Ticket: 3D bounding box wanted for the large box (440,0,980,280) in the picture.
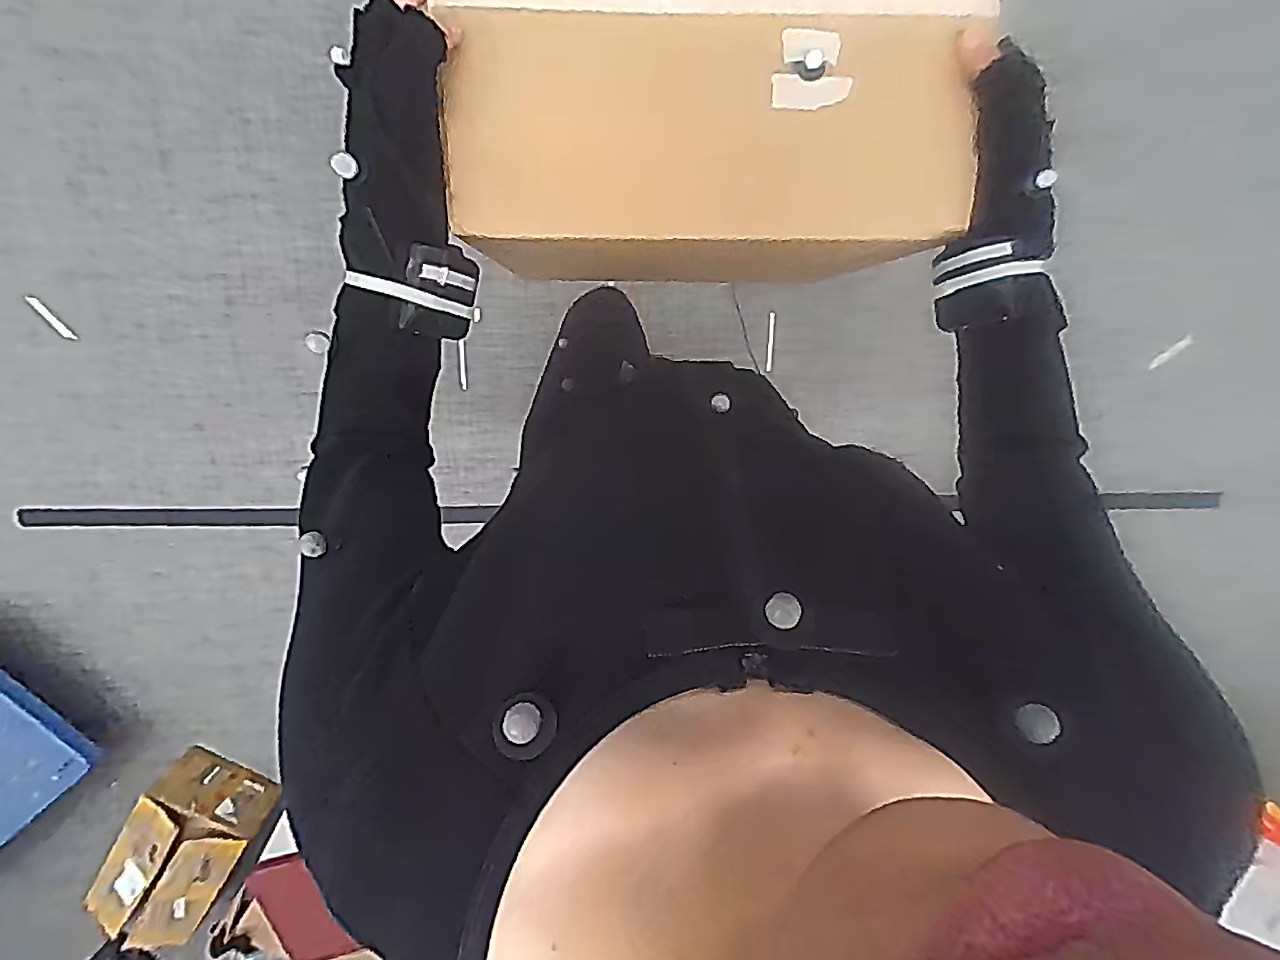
[{"bbox_3d":[0.045,-0.383,0.536,0.408,0.320,0.320,-1,104,-3],"label":"large box"}]
